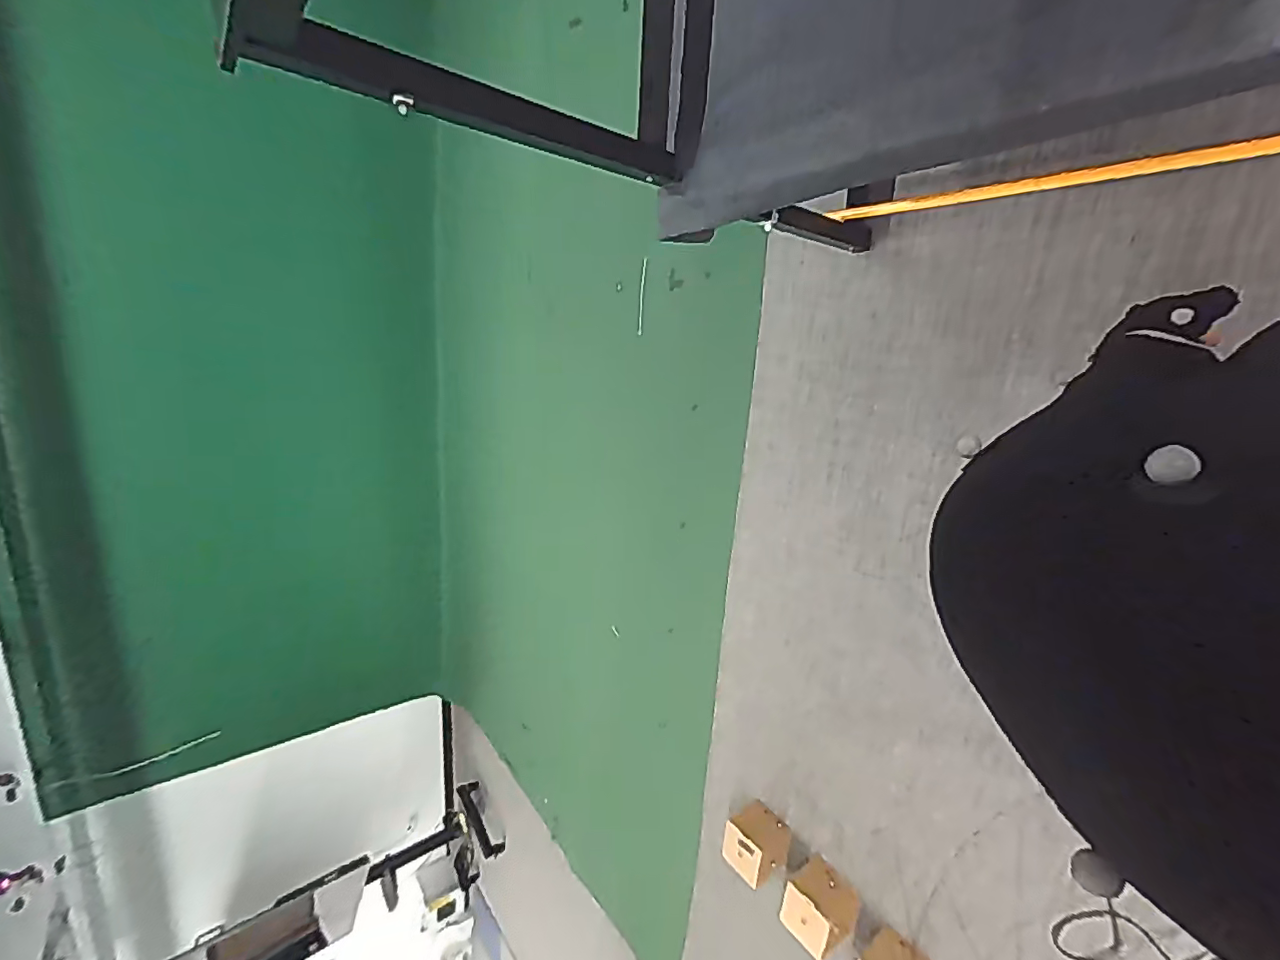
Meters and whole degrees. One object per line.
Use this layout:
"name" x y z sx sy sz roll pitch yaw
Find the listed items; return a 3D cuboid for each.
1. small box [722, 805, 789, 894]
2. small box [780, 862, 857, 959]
"small box" 0.427 1.346 1.983 0.168 0.176 0.179 23 113 48
"small box" 0.592 1.427 1.786 0.168 0.176 0.179 24 113 48
